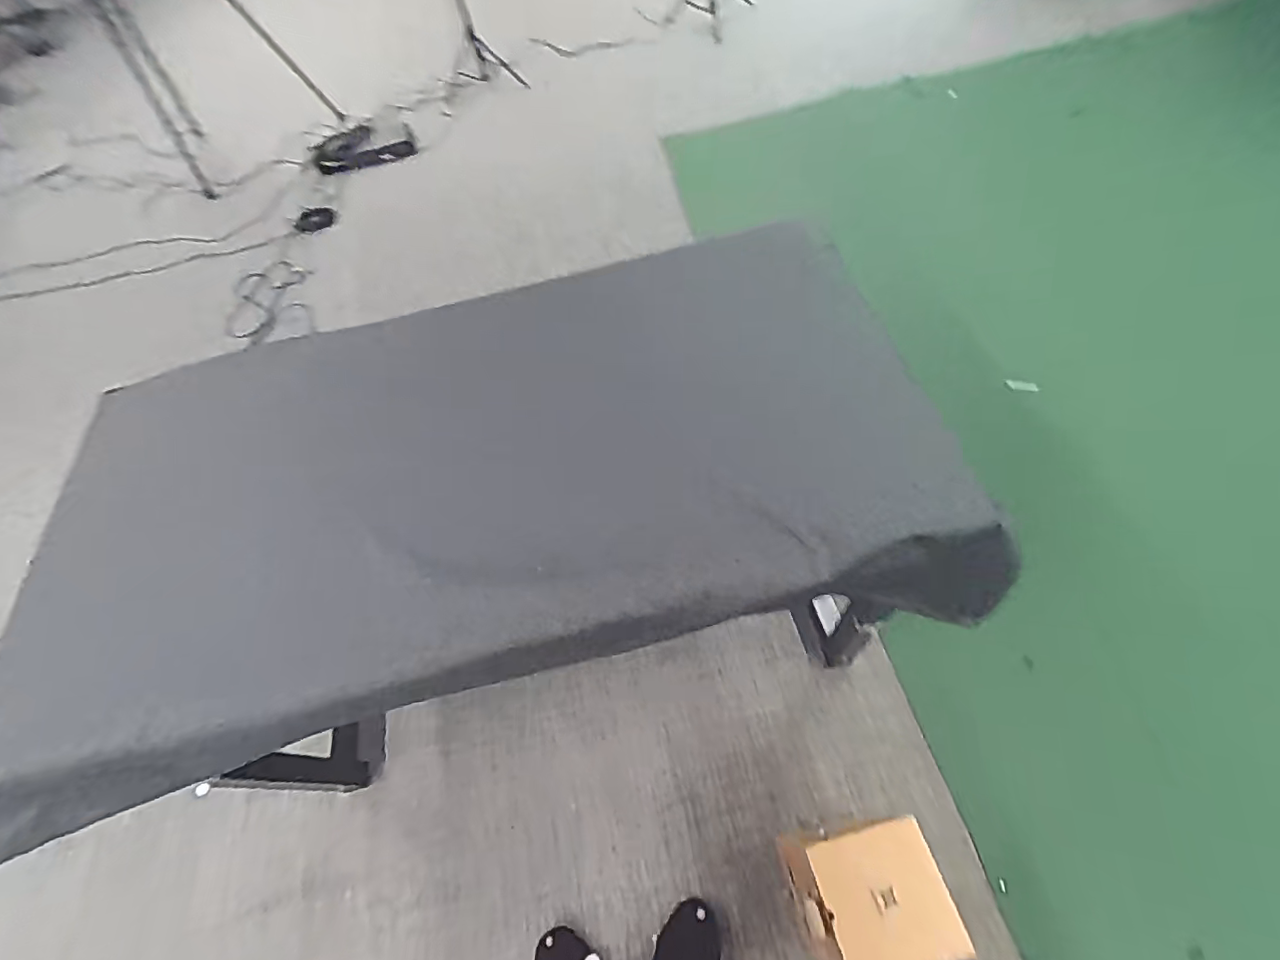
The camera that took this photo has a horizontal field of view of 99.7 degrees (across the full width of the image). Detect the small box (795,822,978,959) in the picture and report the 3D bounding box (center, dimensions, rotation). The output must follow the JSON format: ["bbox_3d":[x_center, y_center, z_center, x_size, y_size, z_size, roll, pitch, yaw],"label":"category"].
[{"bbox_3d":[0.354,0.632,0.817,0.179,0.176,0.168,-16,57,-2],"label":"small box"}]
